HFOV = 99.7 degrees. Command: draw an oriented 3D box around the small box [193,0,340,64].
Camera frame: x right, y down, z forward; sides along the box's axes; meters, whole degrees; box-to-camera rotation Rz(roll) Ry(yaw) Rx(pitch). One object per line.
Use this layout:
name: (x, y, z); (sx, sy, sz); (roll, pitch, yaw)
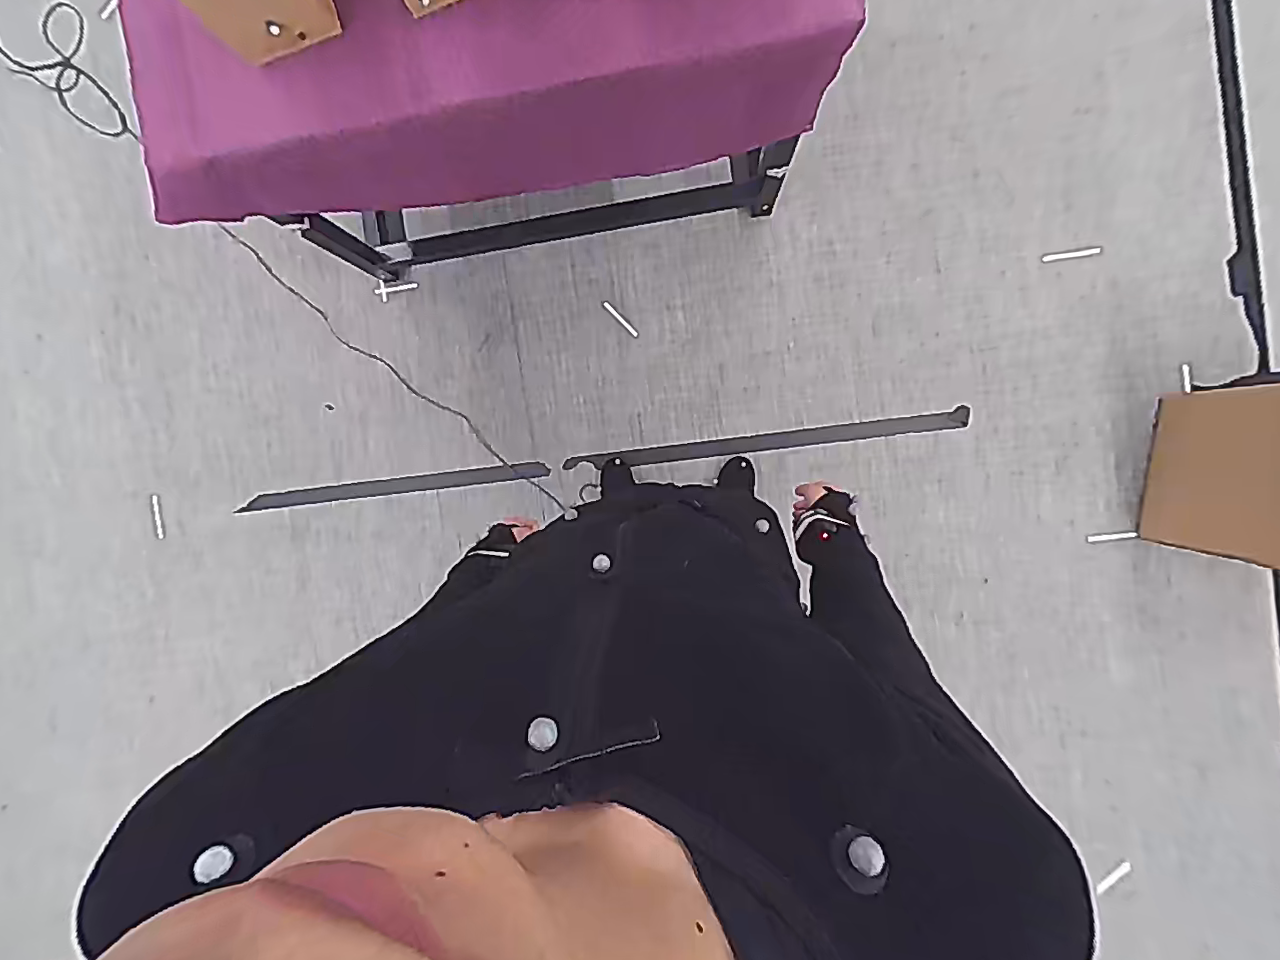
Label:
small box: (-0.598, -0.796, 0.822); (0.168, 0.176, 0.179); (-16, 92, 5)

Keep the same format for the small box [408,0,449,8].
small box: (-0.323, -0.857, 0.798); (0.168, 0.176, 0.179); (-18, 91, 5)
